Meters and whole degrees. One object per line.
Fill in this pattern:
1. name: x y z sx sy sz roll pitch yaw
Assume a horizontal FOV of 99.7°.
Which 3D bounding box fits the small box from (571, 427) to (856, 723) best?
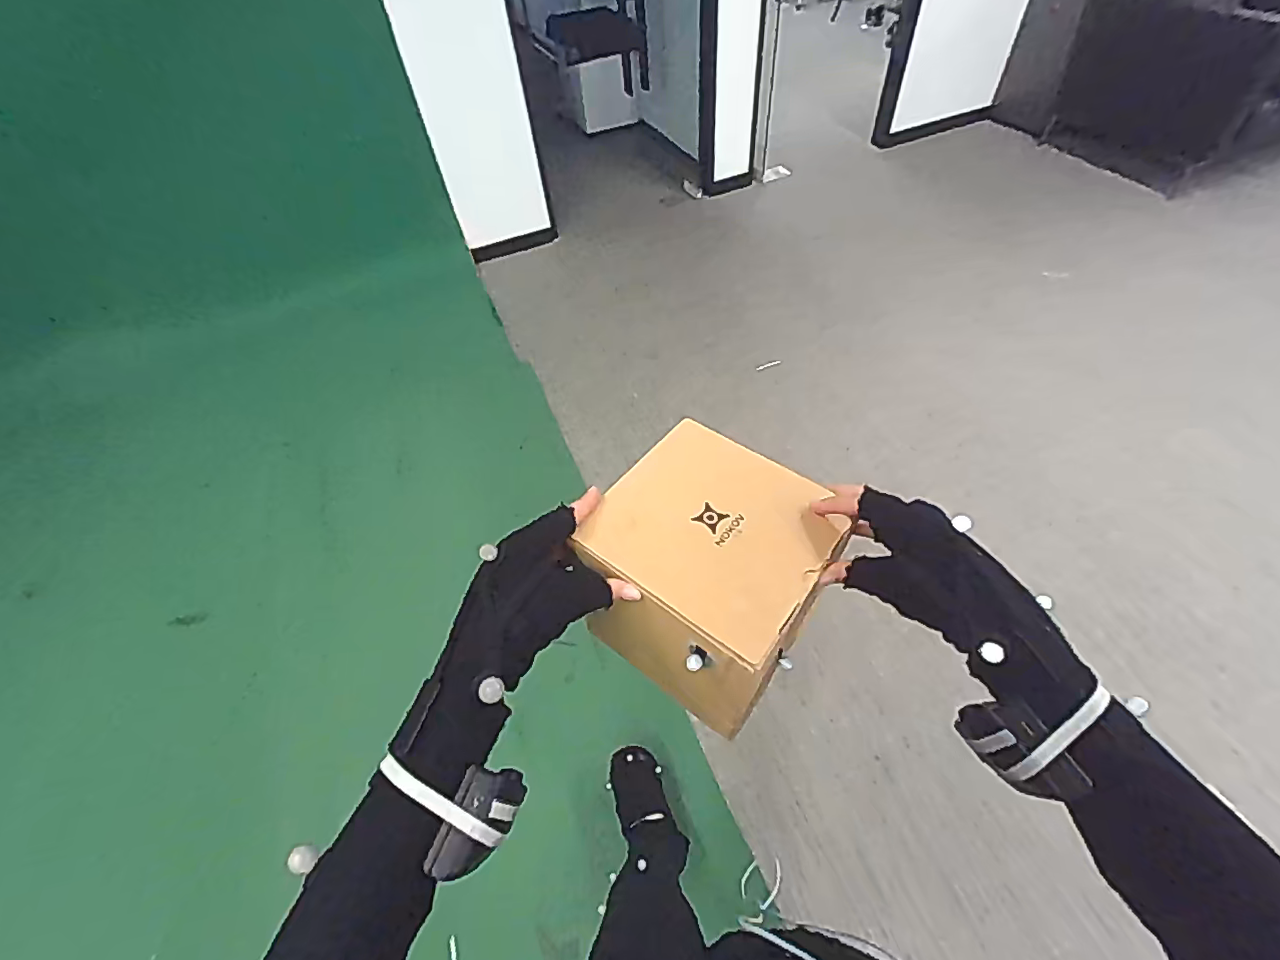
1. small box: 0.061 0.089 0.497 0.179 0.176 0.168 31 57 24
